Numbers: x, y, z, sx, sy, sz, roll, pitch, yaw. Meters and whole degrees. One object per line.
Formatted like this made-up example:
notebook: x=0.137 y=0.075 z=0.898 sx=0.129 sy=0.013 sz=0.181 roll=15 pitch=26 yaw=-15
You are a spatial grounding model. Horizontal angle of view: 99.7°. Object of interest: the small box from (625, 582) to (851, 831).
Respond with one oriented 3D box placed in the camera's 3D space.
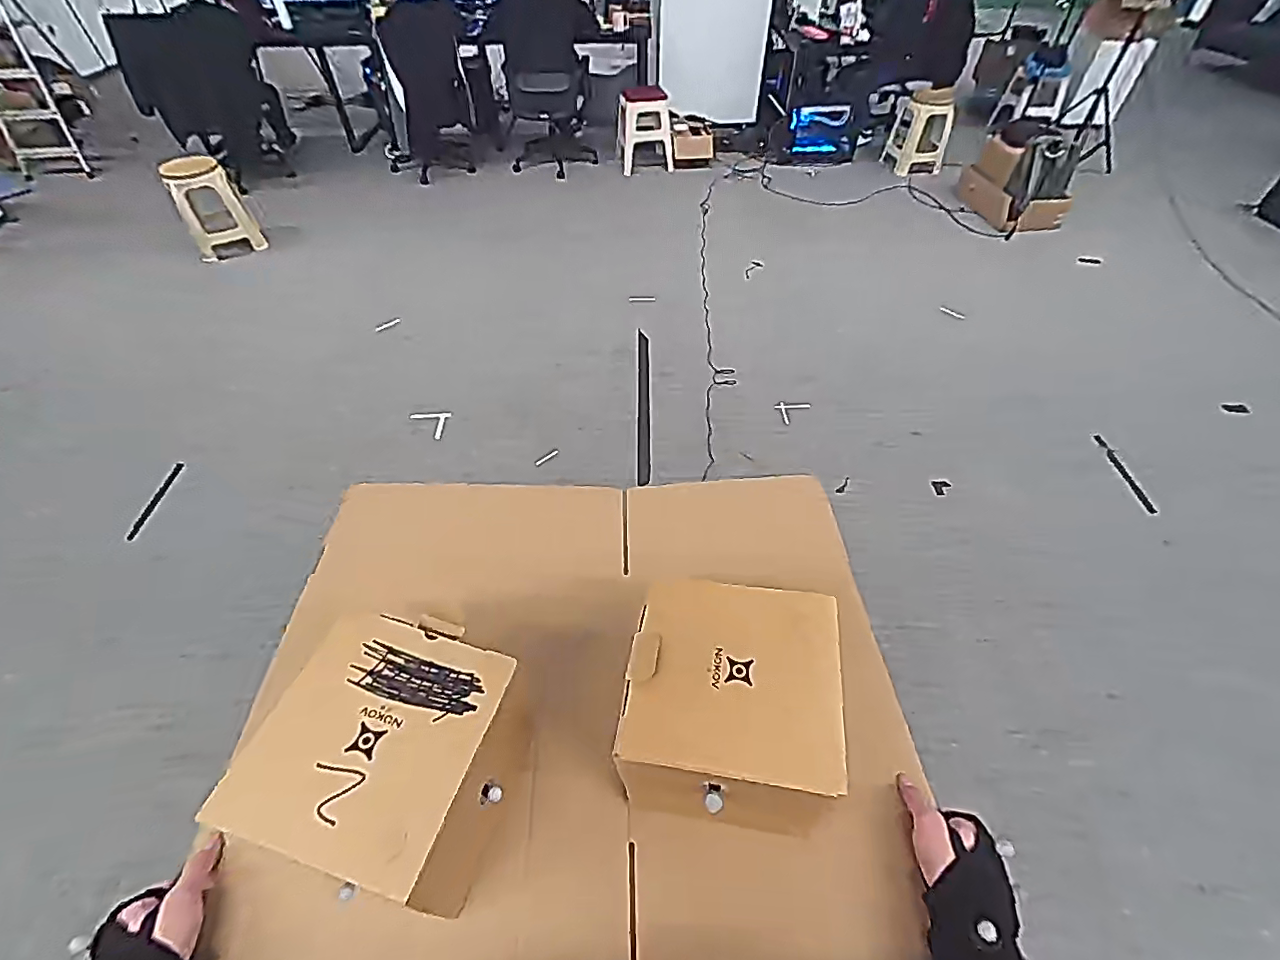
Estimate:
small box: x=0.094 y=0.222 z=0.526 sx=0.179 sy=0.176 sz=0.168 roll=4 pitch=48 yaw=11
